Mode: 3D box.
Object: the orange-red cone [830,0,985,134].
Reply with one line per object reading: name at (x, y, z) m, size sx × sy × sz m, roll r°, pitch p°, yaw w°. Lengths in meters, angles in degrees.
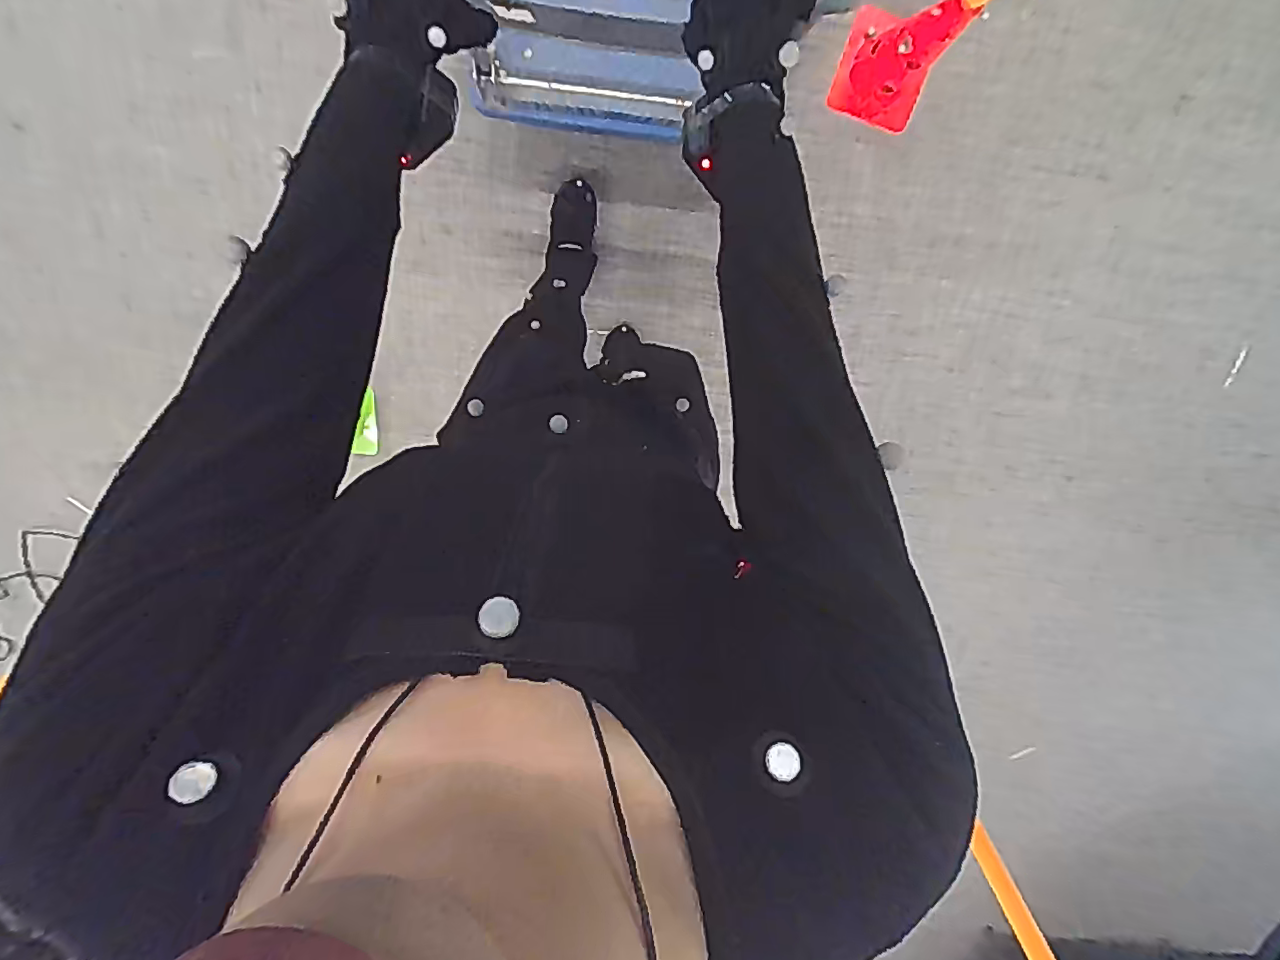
orange-red cone at (0.546, -0.844, 1.045) m, size 0.198 × 0.360 × 0.199 m, roll 17°, pitch 110°, yaw -7°
